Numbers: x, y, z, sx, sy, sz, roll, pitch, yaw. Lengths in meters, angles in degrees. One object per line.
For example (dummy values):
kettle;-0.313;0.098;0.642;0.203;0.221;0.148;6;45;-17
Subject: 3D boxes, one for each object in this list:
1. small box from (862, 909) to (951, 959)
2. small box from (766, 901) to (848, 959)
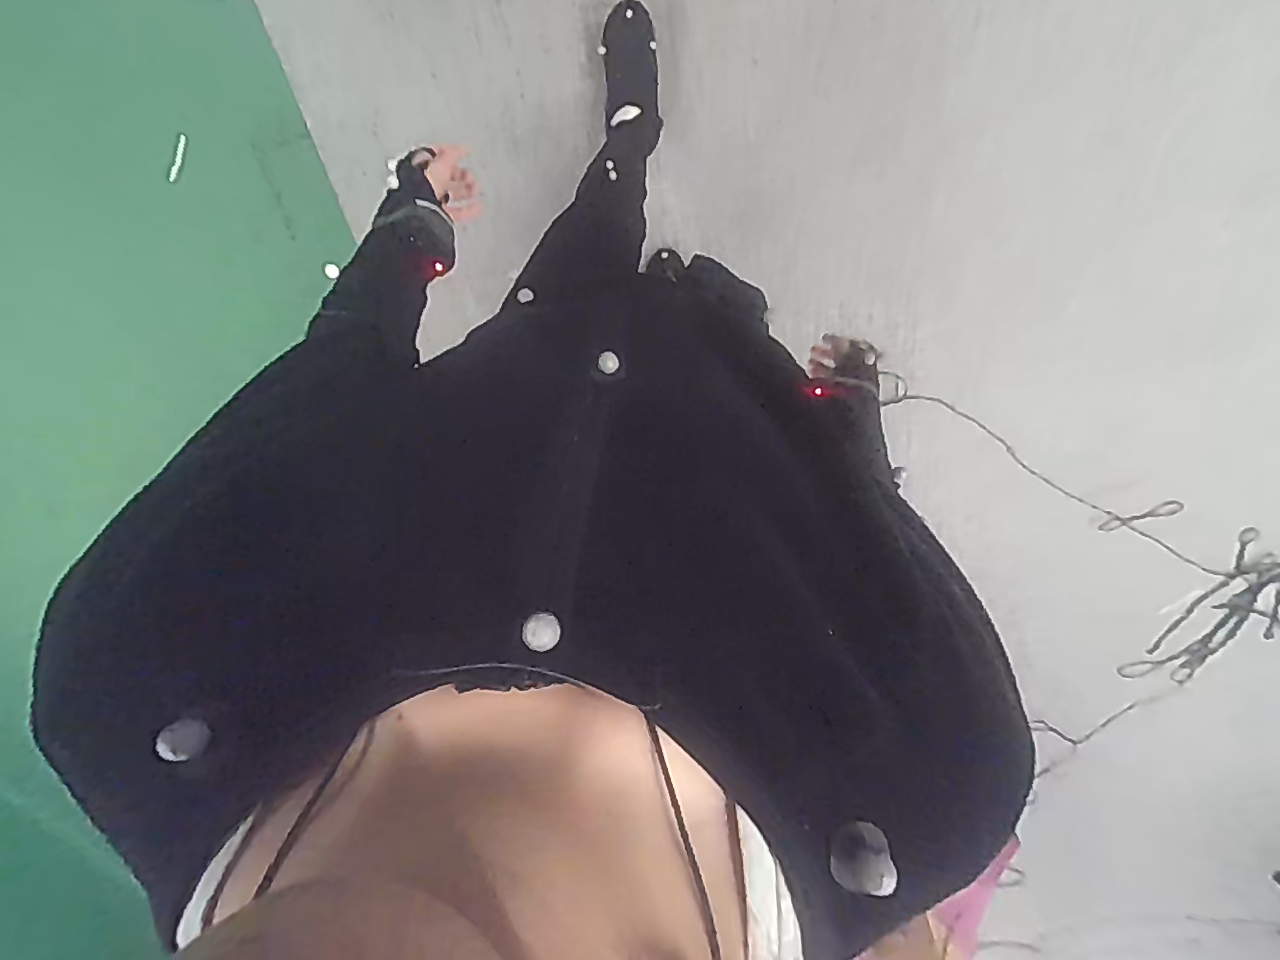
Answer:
small box;0.714;1.265;1.416;0.168;0.176;0.179;-32;114;20
small box;0.436;1.241;1.423;0.168;0.176;0.179;4;122;0
